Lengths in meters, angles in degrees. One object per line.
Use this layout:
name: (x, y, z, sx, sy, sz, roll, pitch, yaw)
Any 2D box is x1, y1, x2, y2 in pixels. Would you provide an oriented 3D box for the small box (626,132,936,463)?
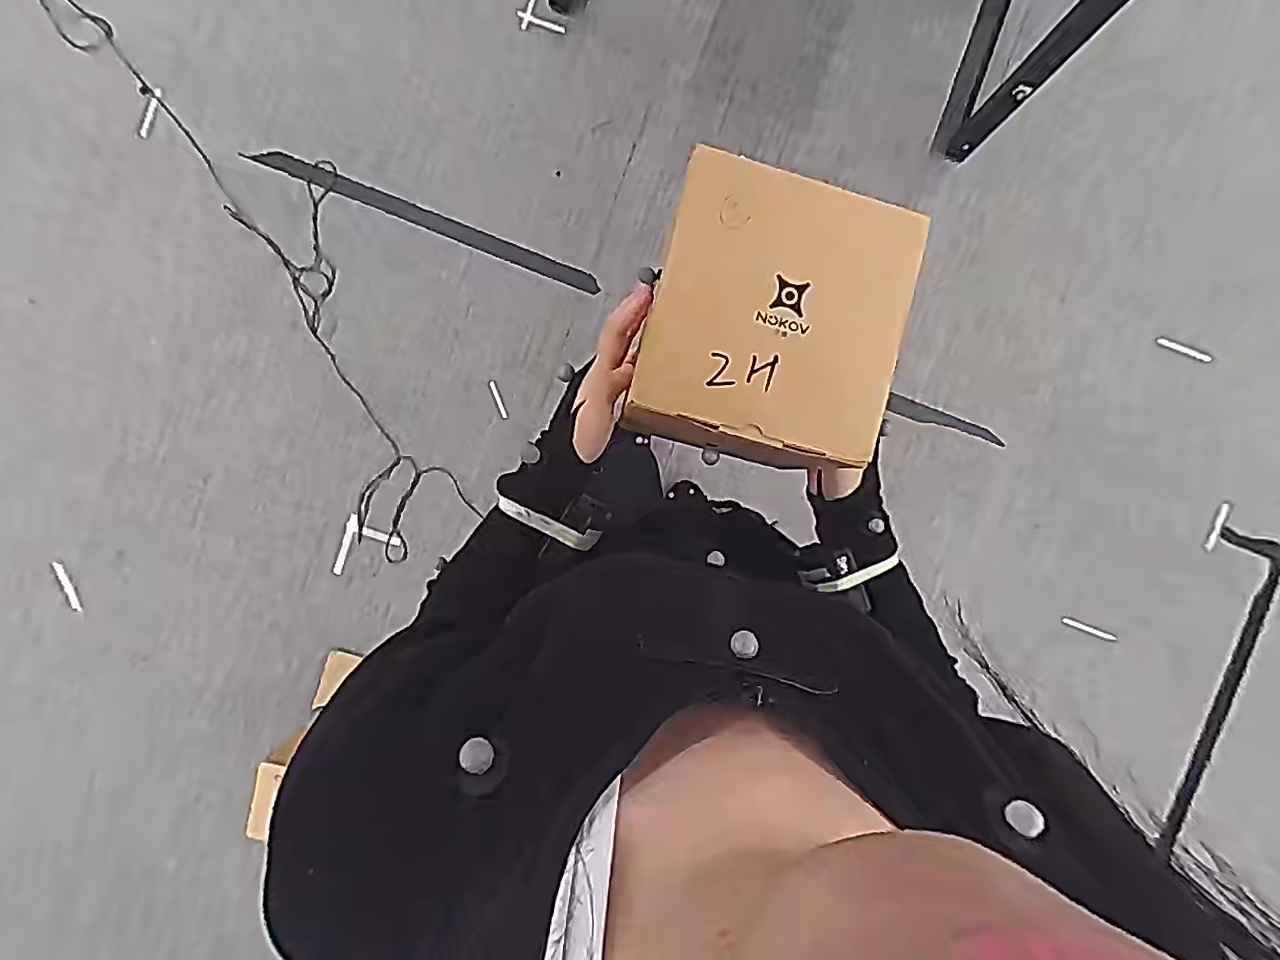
small box: (0.088, -0.117, 0.424, 0.168, 0.176, 0.179, 14, 90, -5)
